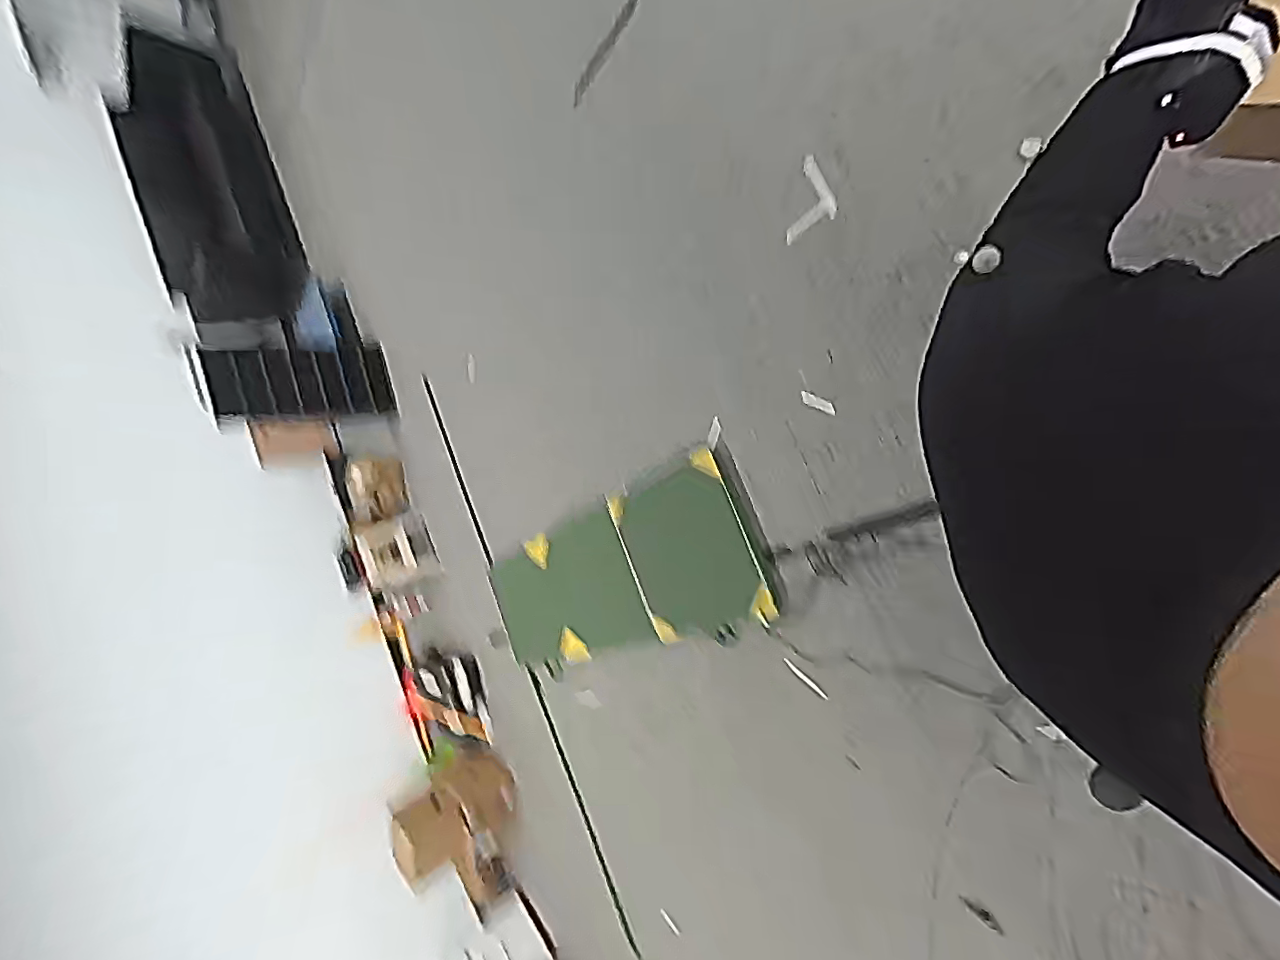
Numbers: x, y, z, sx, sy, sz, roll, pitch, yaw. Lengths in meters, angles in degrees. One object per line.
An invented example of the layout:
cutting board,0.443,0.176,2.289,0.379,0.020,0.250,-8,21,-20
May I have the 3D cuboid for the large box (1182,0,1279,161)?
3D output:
large box,0.691,-0.401,0.349,0.408,0.320,0.320,30,125,36
